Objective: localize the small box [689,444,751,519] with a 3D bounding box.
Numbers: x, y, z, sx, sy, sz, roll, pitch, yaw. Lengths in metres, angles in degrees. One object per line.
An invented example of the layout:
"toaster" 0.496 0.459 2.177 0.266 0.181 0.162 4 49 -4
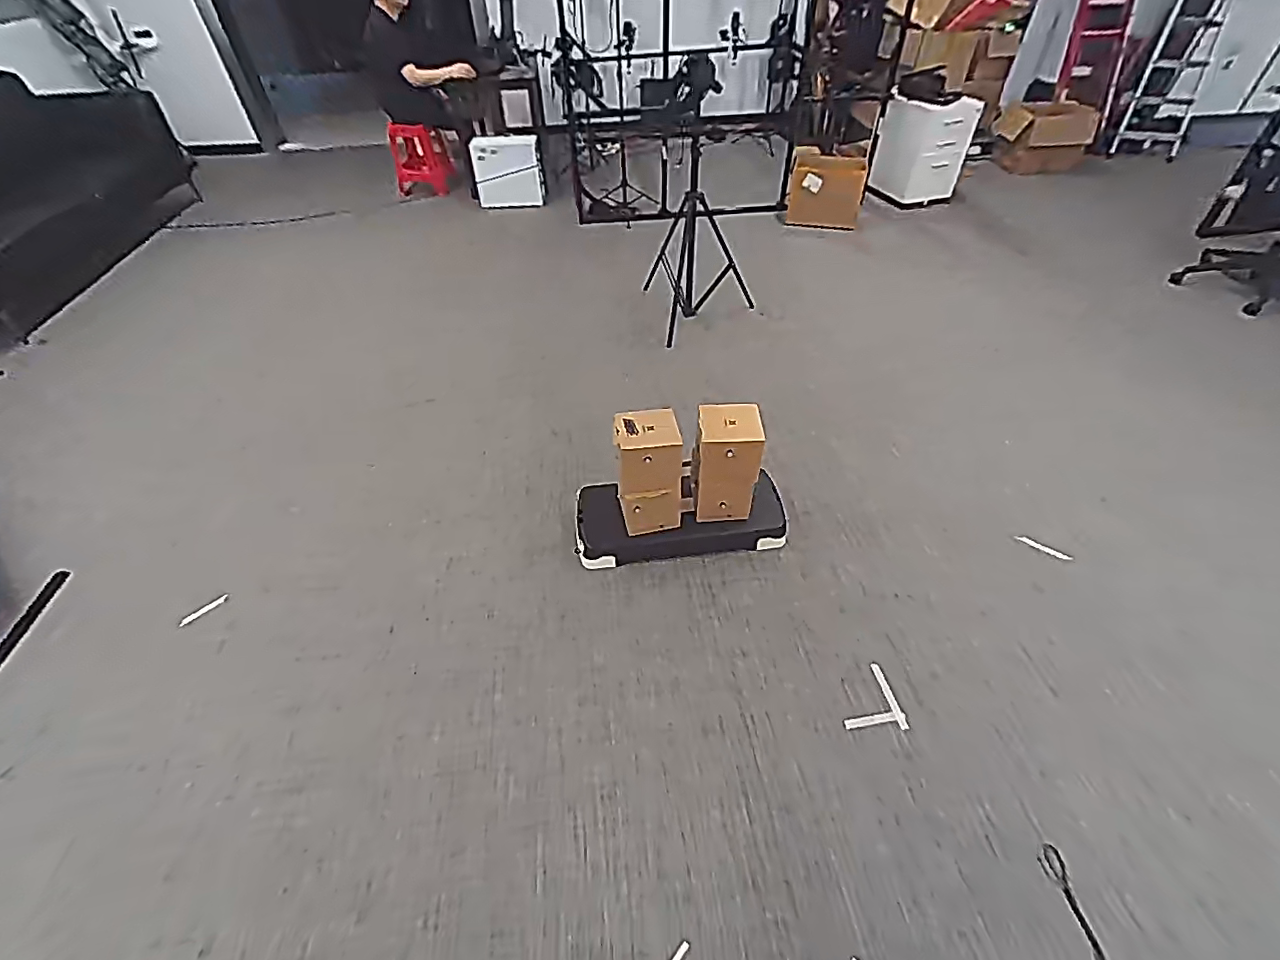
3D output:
"small box" 0.247 0.011 1.703 0.168 0.176 0.179 -3 45 -1
